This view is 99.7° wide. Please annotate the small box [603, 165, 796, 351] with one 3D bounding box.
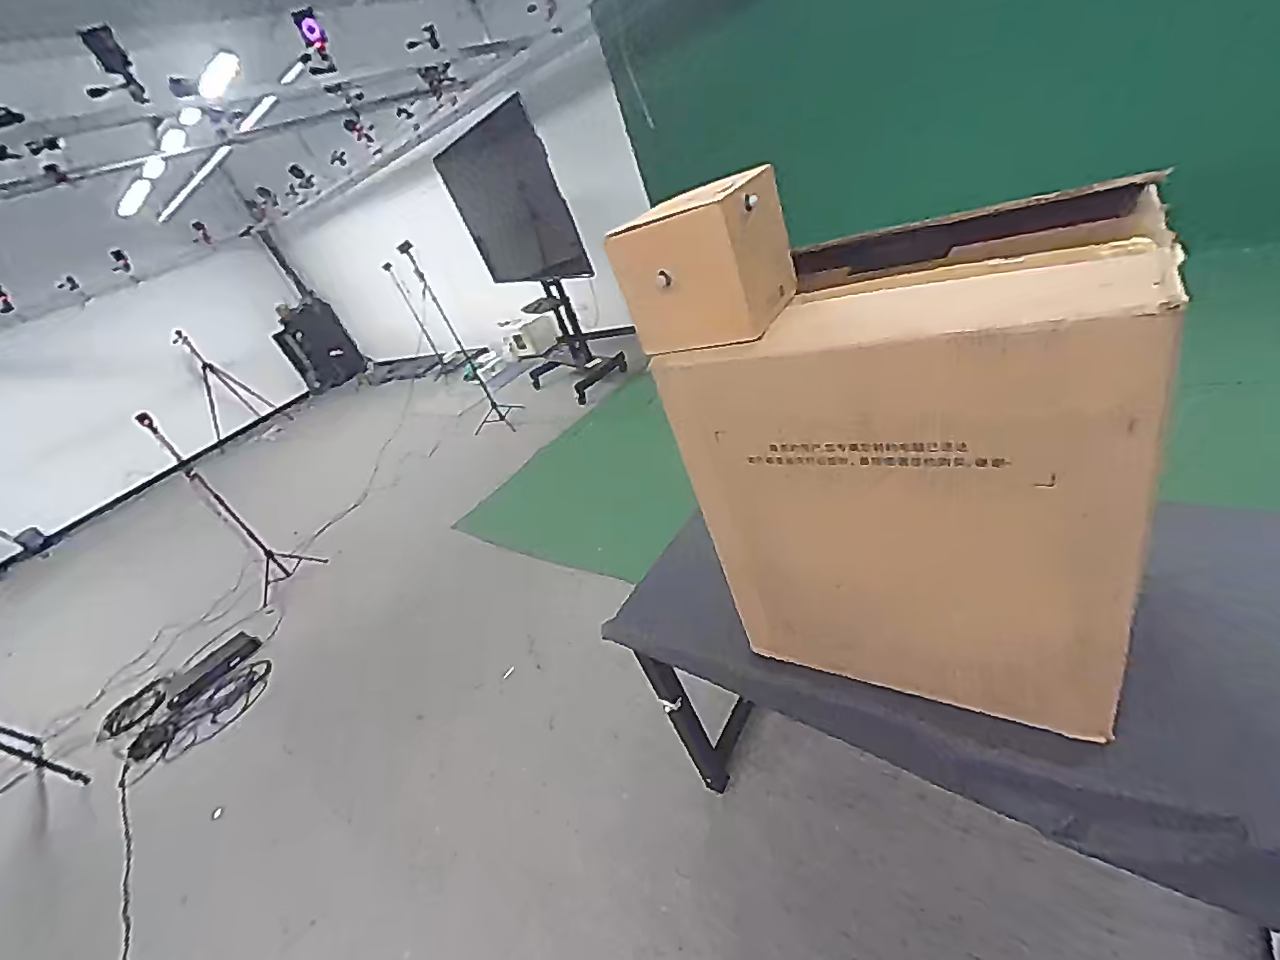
[{"bbox_3d":[0.087,-0.287,0.728,0.179,0.176,0.168,1,39,38],"label":"small box"}]
